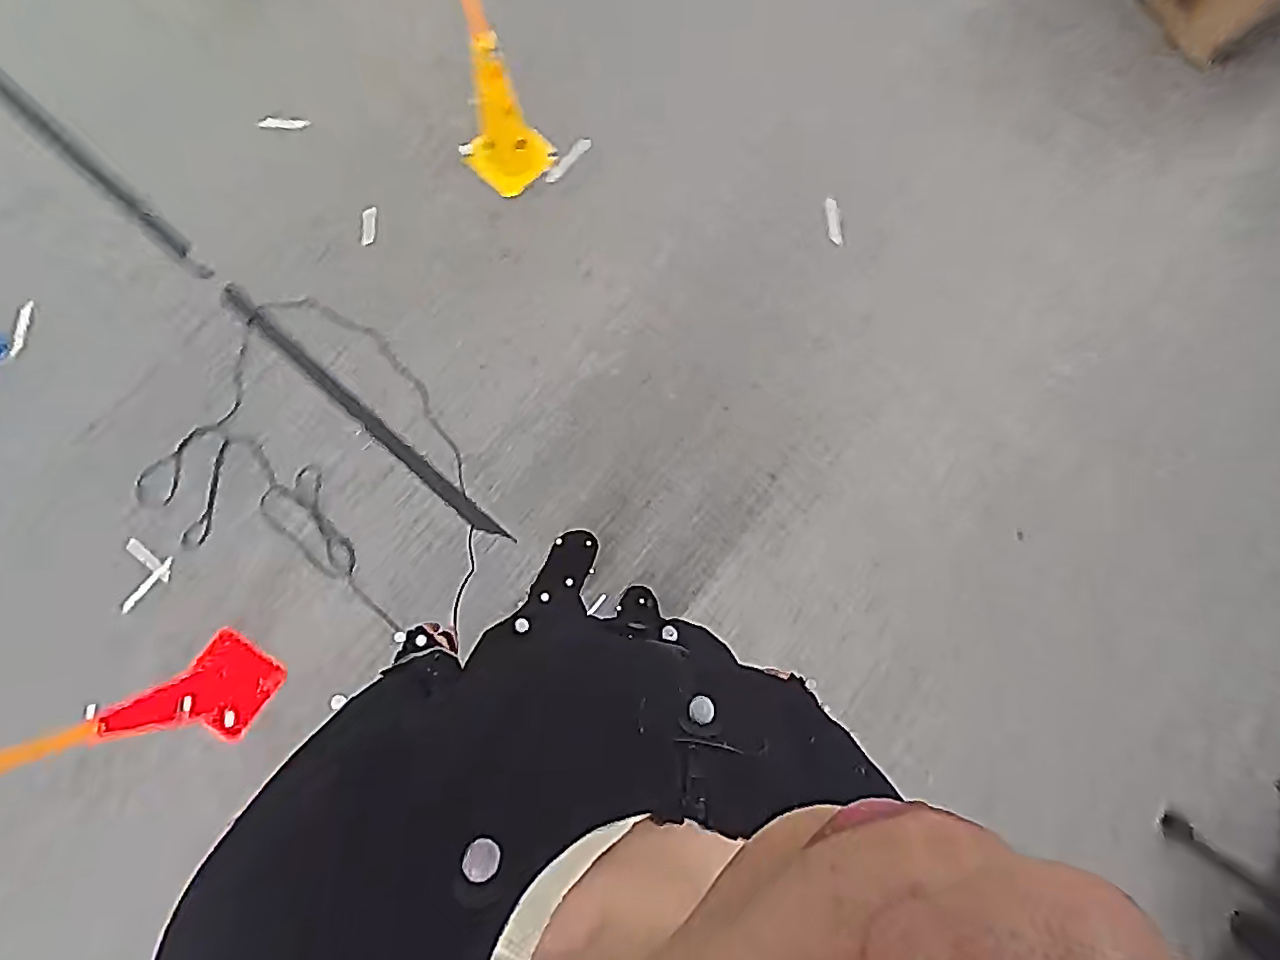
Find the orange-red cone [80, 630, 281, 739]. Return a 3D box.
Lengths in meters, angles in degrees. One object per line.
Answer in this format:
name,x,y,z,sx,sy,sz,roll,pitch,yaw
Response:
orange-red cone,-0.970,0.455,1.113,0.198,0.360,0.199,36,80,2

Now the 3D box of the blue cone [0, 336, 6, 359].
blue cone,-1.722,-0.357,1.203,0.192,0.380,0.193,44,82,3
